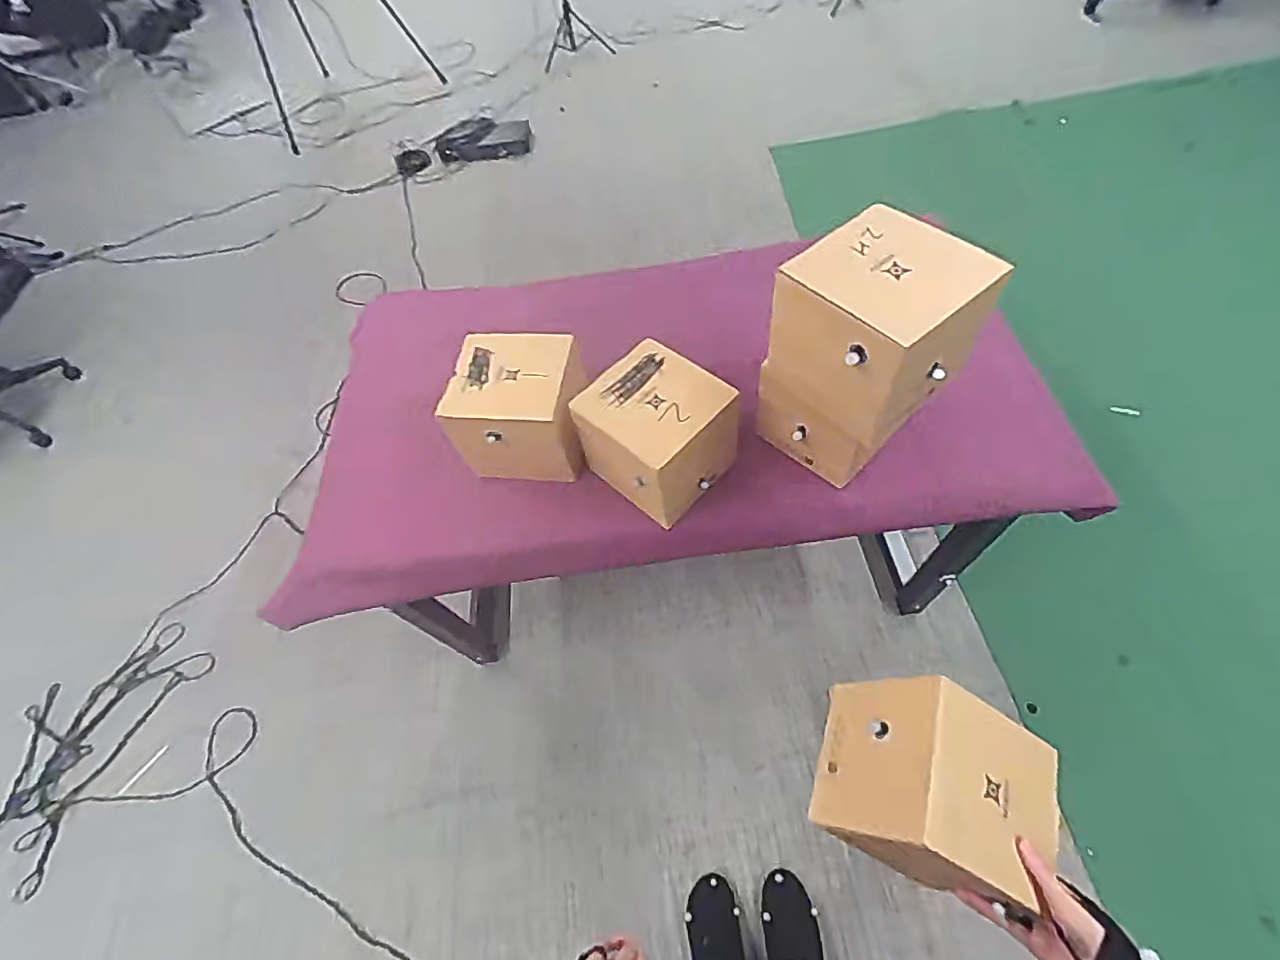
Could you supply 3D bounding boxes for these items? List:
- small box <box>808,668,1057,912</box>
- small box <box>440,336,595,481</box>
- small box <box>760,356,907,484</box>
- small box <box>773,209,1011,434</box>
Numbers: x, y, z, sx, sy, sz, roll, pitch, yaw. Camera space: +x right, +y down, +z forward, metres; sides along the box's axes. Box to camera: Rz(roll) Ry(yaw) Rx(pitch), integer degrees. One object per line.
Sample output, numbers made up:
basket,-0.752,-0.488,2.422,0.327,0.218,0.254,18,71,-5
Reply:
small box,0.319,0.335,0.606,0.179,0.176,0.168,34,58,-10
small box,-0.183,-0.110,0.865,0.179,0.176,0.168,3,60,9
small box,0.297,-0.126,0.807,0.179,0.176,0.168,-42,62,-17
small box,0.280,-0.179,0.647,0.168,0.176,0.179,-35,59,-14
